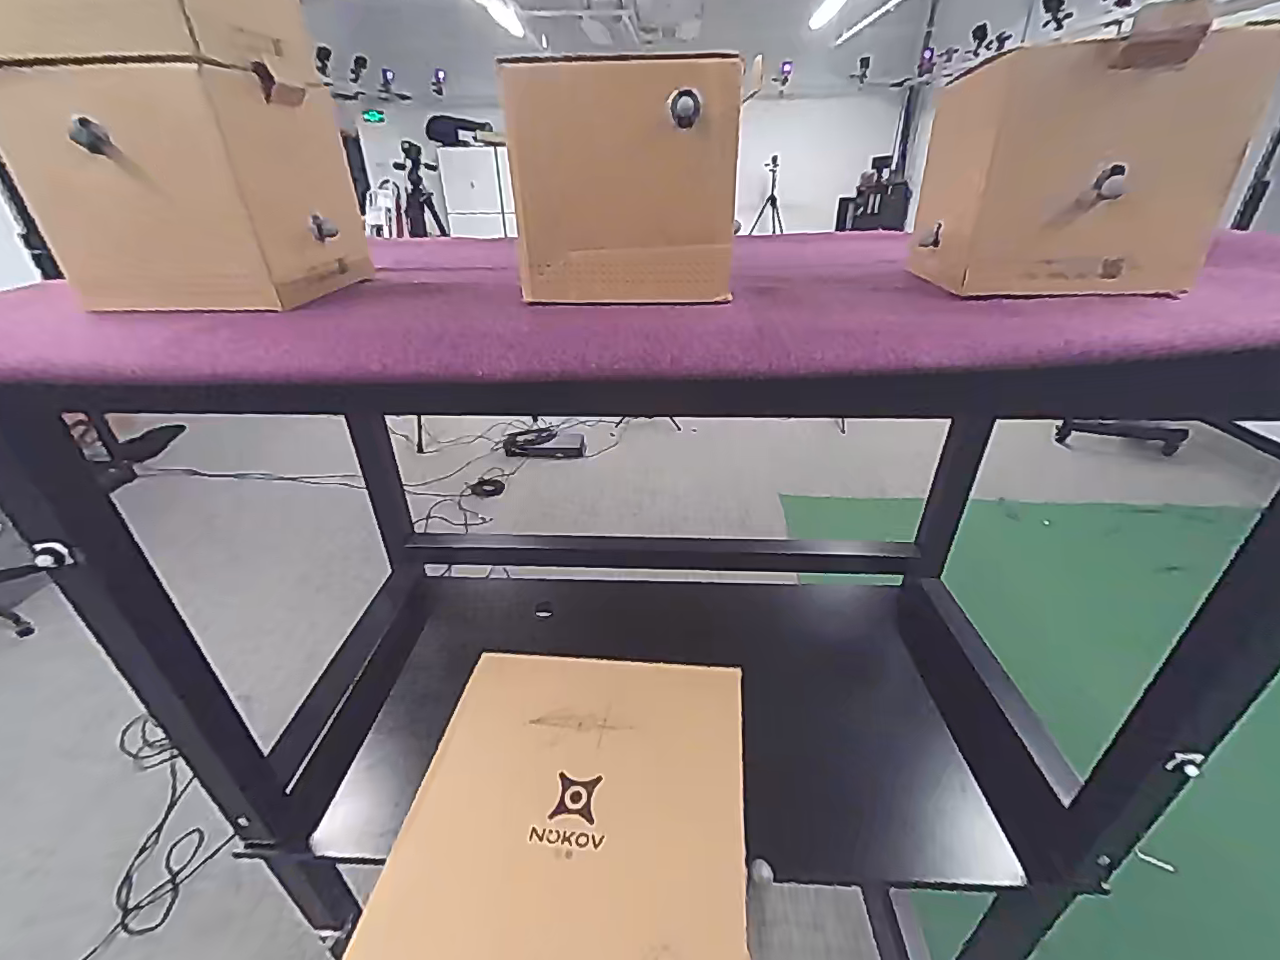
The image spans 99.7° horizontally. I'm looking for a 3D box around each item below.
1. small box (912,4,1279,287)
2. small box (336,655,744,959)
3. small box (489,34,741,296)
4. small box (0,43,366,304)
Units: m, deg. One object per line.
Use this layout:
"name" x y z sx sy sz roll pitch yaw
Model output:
"small box" 0.349 -0.261 0.454 0.168 0.176 0.179 3 29 9
"small box" -0.026 0.226 0.301 0.168 0.176 0.179 1 32 9
"small box" -0.012 -0.258 0.470 0.179 0.176 0.168 1 29 2
"small box" -0.375 -0.253 0.467 0.179 0.176 0.168 1 31 2
